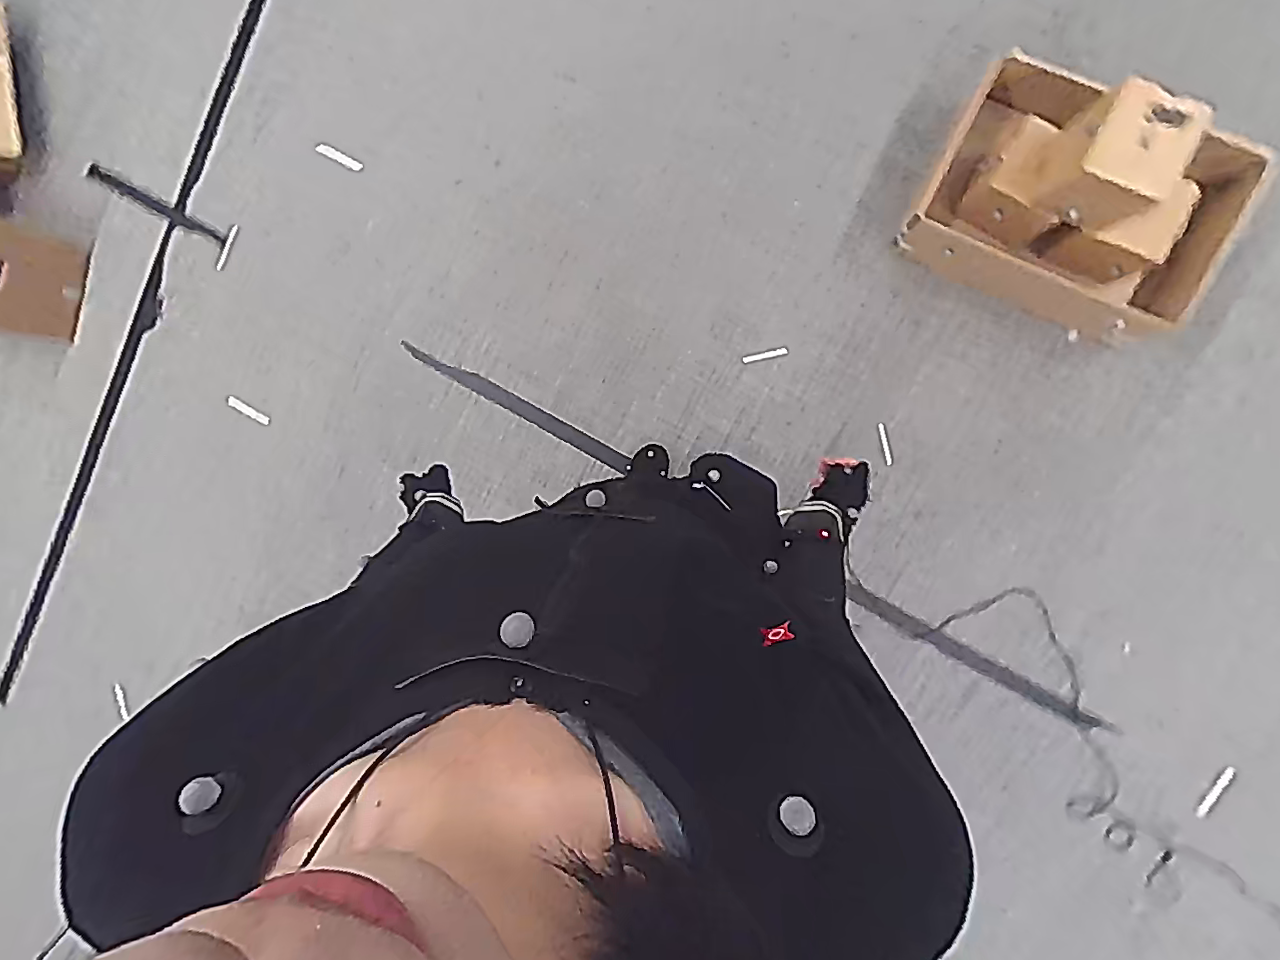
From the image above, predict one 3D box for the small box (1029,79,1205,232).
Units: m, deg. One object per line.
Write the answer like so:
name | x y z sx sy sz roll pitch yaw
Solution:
small box | 0.931 -0.633 1.077 0.168 0.176 0.179 24 97 3
